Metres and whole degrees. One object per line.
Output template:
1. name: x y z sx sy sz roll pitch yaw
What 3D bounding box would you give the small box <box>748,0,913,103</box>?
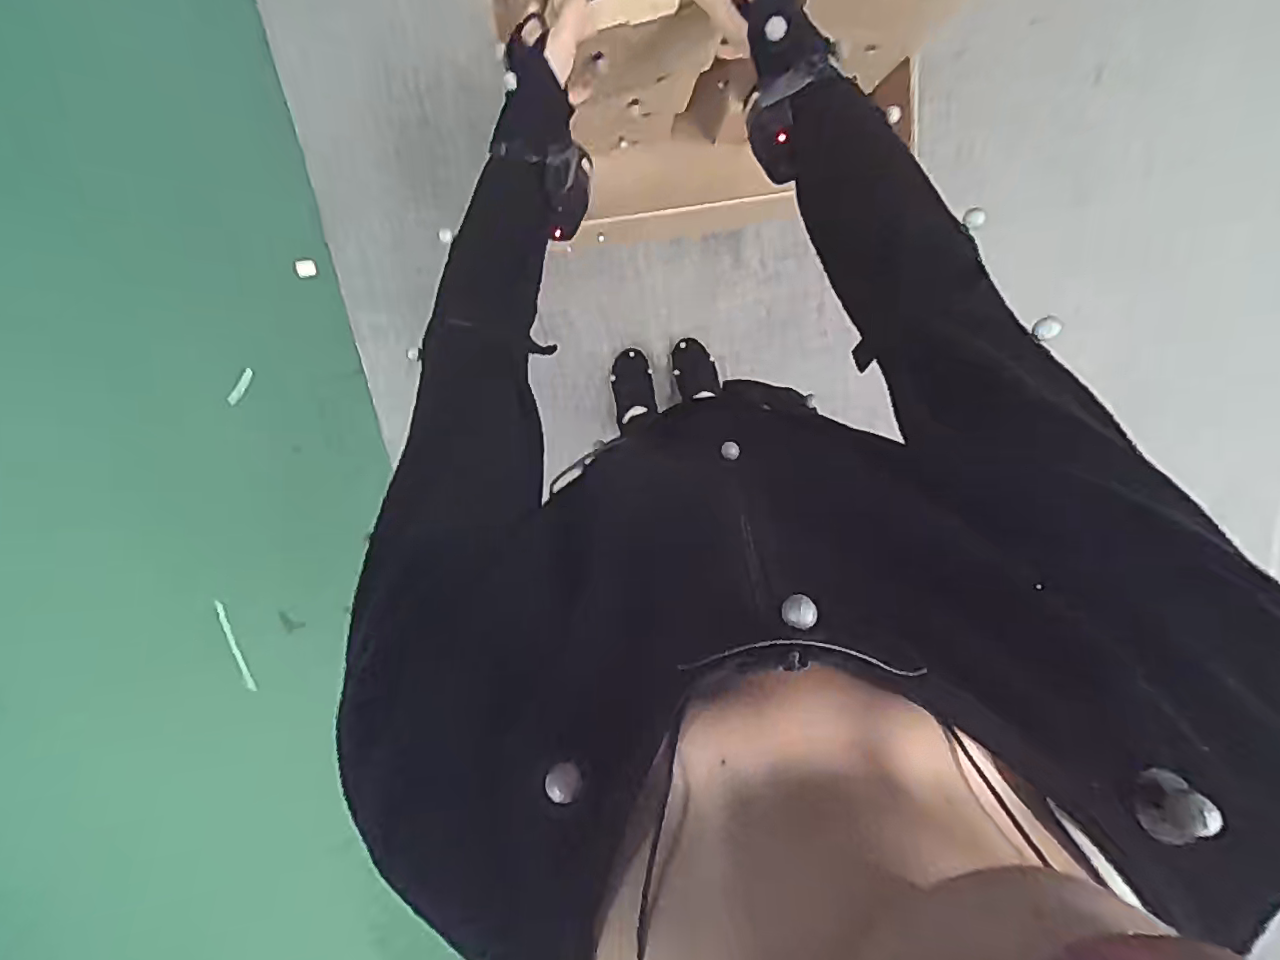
1. small box: 0.236 -0.599 0.680 0.168 0.176 0.179 -2 106 -1

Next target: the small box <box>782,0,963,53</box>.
1. small box: 0.244 -0.553 0.524 0.168 0.176 0.179 1 105 -2

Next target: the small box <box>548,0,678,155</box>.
1. small box: -0.041 -0.636 0.833 0.168 0.176 0.179 -11 106 1

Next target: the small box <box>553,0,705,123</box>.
1. small box: -0.021 -0.578 0.680 0.168 0.176 0.179 -11 107 0
